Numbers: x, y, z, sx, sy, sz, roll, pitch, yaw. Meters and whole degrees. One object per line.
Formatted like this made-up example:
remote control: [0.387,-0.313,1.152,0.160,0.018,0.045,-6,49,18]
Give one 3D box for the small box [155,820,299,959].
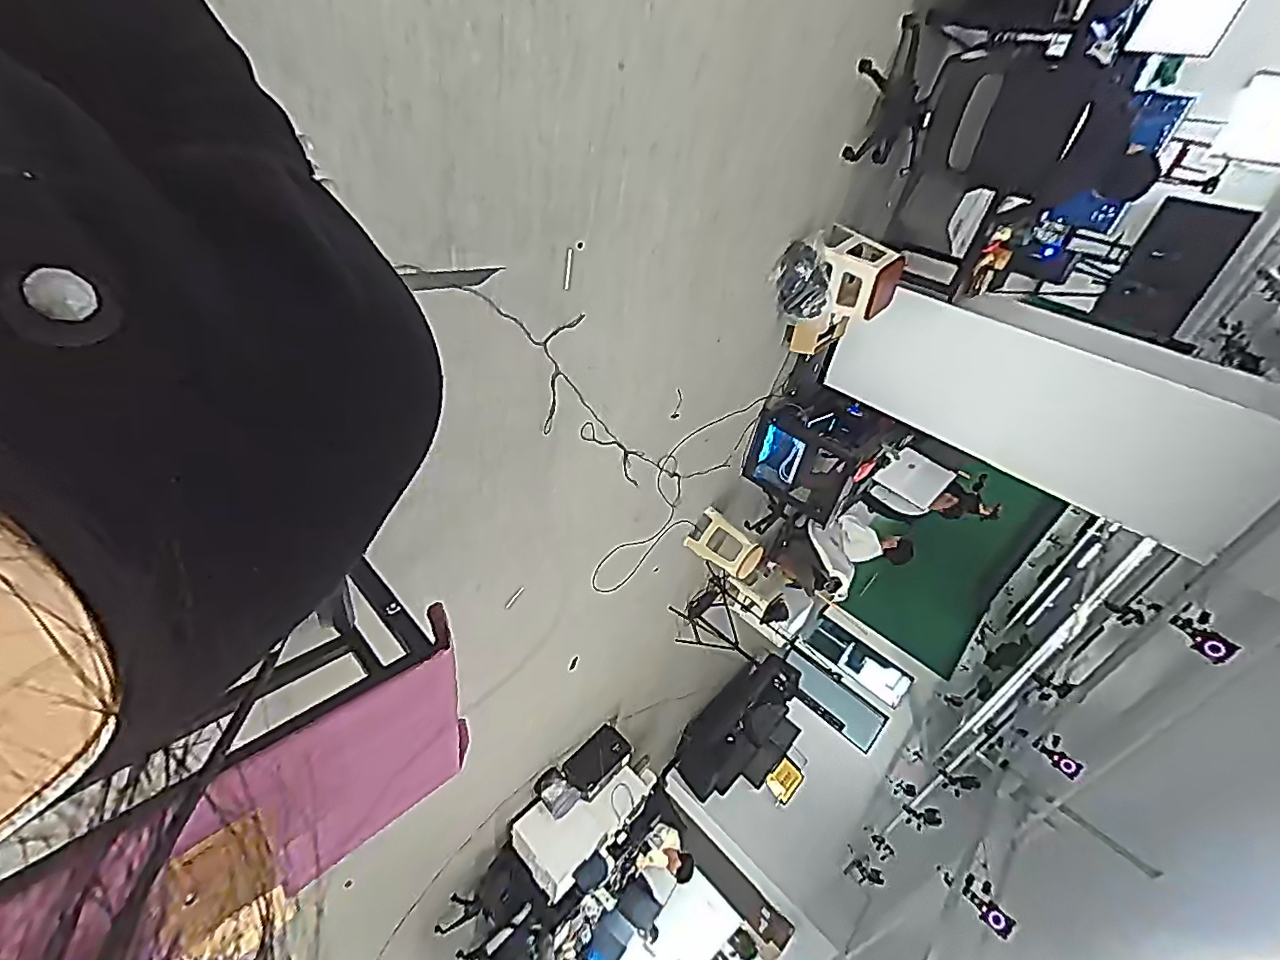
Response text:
small box: [-0.795,0.805,1.046,0.168,0.176,0.179,-24,140,-41]
